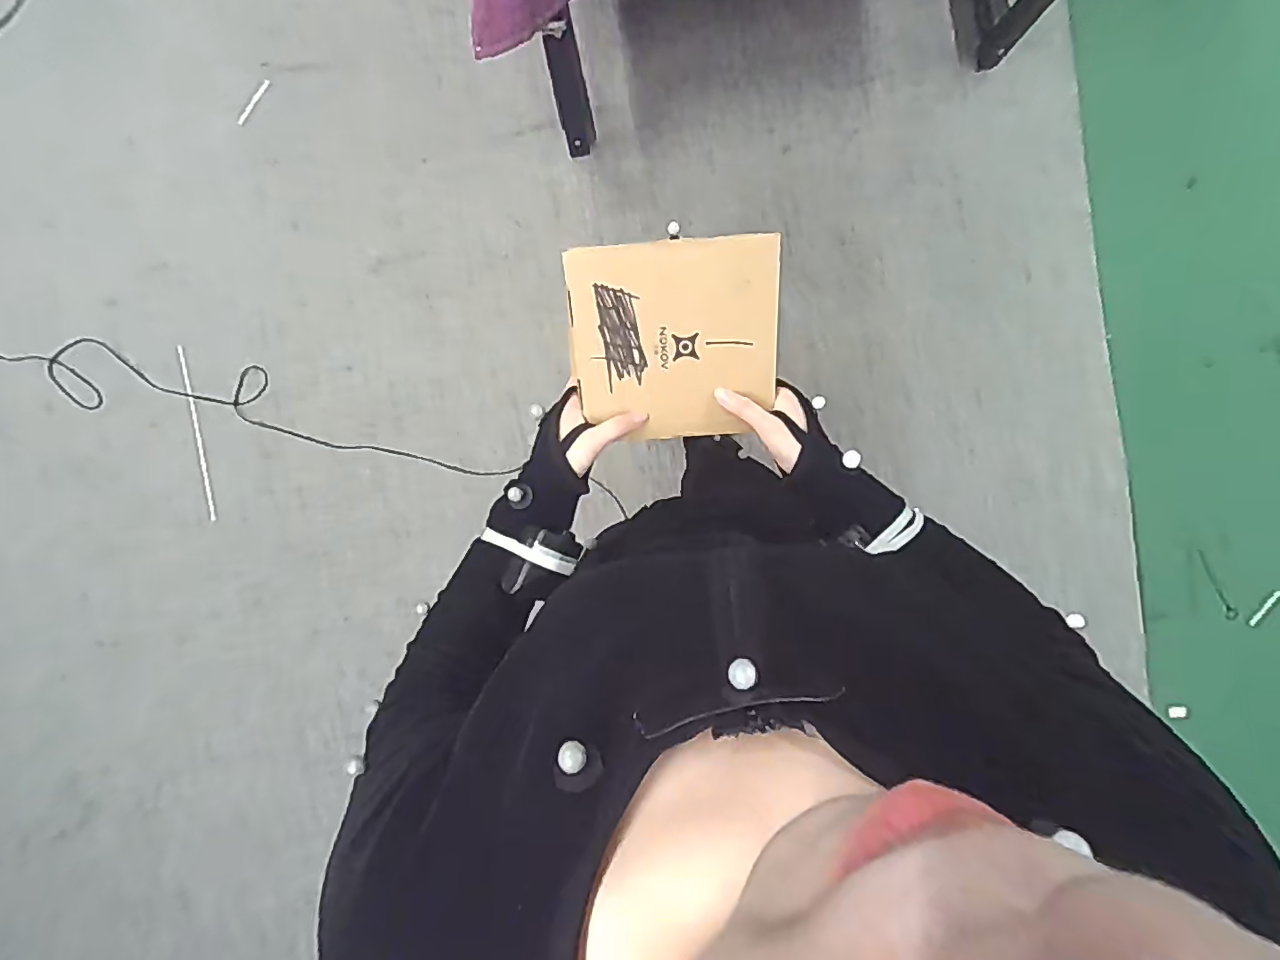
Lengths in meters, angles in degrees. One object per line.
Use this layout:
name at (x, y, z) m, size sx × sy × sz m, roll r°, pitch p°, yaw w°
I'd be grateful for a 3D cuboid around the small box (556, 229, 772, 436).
small box at (0.022, -0.150, 0.535) m, size 0.179 × 0.176 × 0.168 m, roll -4°, pitch 114°, yaw 0°
